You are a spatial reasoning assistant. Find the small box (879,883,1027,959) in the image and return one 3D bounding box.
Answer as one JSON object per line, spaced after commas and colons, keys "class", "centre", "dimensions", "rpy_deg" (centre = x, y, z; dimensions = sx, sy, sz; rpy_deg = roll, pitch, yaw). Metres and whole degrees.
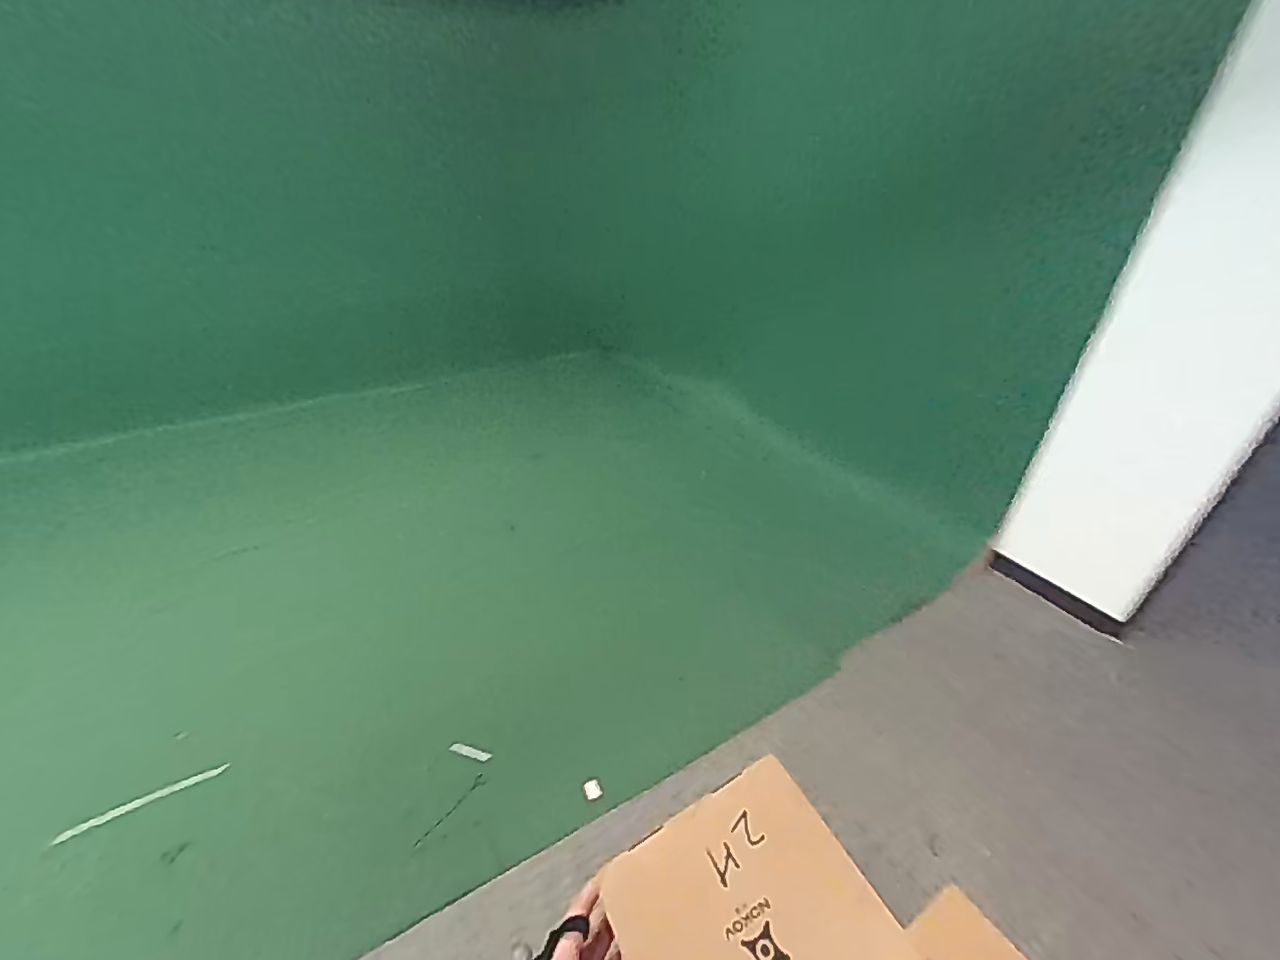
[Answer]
{"class": "small box", "centre": [0.424, 0.709, 0.726], "dimensions": [0.168, 0.176, 0.179], "rpy_deg": [-16, 37, -28]}
